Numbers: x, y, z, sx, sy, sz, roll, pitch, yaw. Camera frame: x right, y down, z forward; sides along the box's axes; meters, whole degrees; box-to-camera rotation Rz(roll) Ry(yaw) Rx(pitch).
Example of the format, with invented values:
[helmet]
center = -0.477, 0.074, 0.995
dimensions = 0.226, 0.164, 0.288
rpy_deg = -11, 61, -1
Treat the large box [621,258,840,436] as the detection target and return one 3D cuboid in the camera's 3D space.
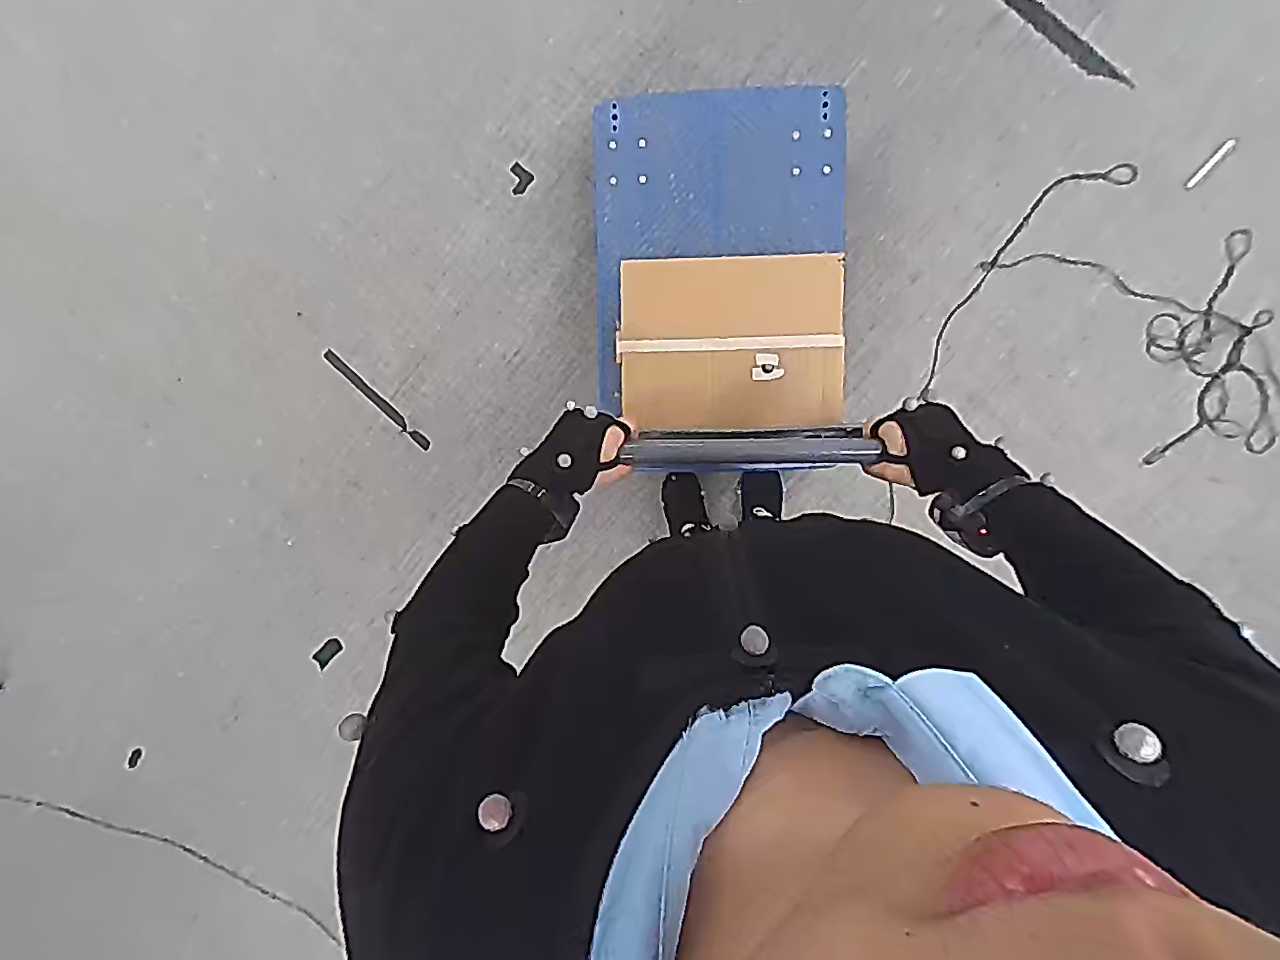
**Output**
[large box]
center = 0.173, -0.254, 1.143
dimensions = 0.408, 0.320, 0.320
rpy_deg = 0, 95, 3
